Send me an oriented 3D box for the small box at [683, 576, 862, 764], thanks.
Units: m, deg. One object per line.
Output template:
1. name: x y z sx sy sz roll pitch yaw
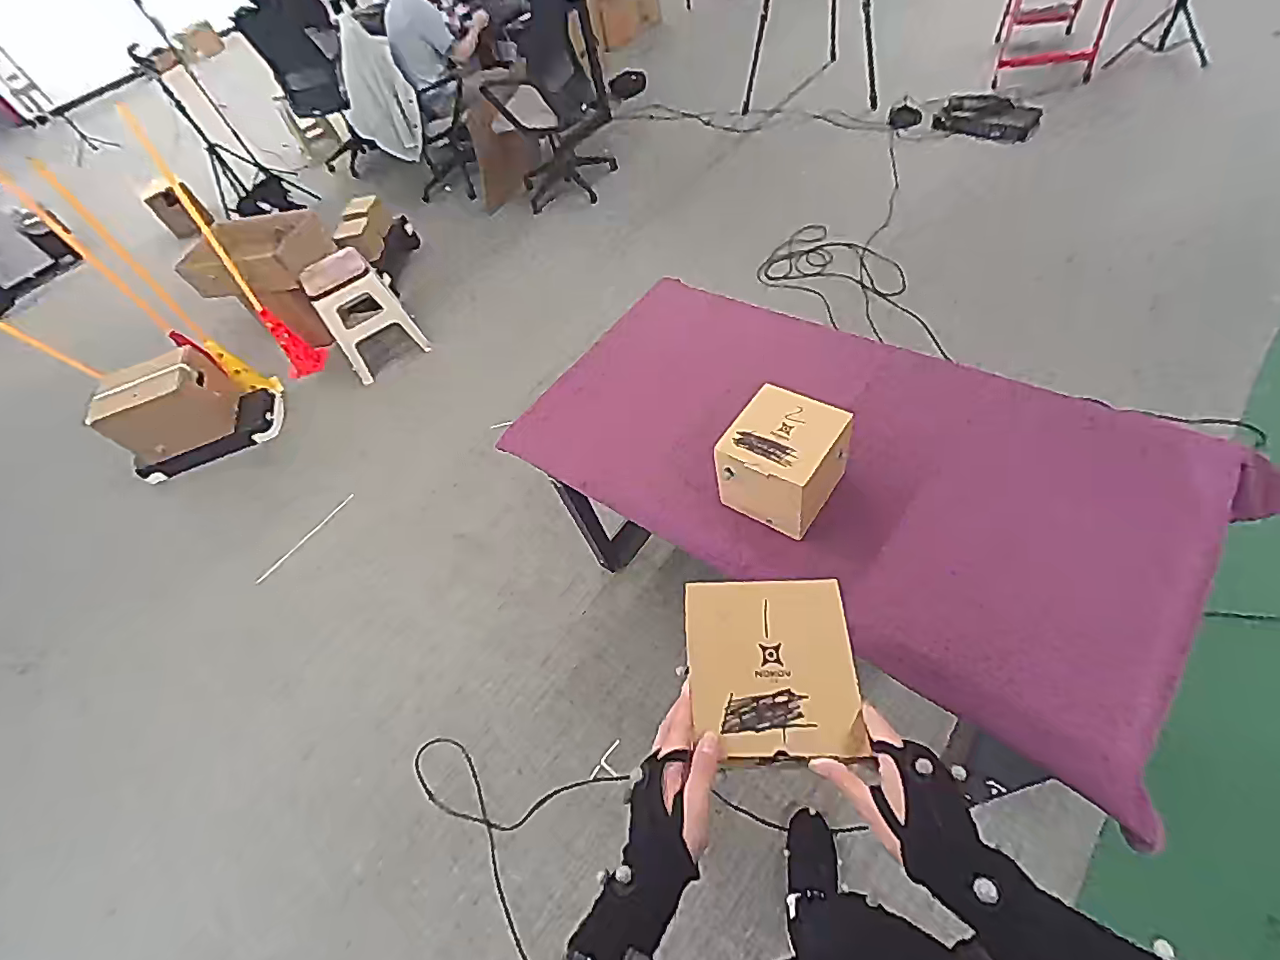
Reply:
1. small box: 0.134 0.221 0.615 0.168 0.176 0.179 -1 58 4
